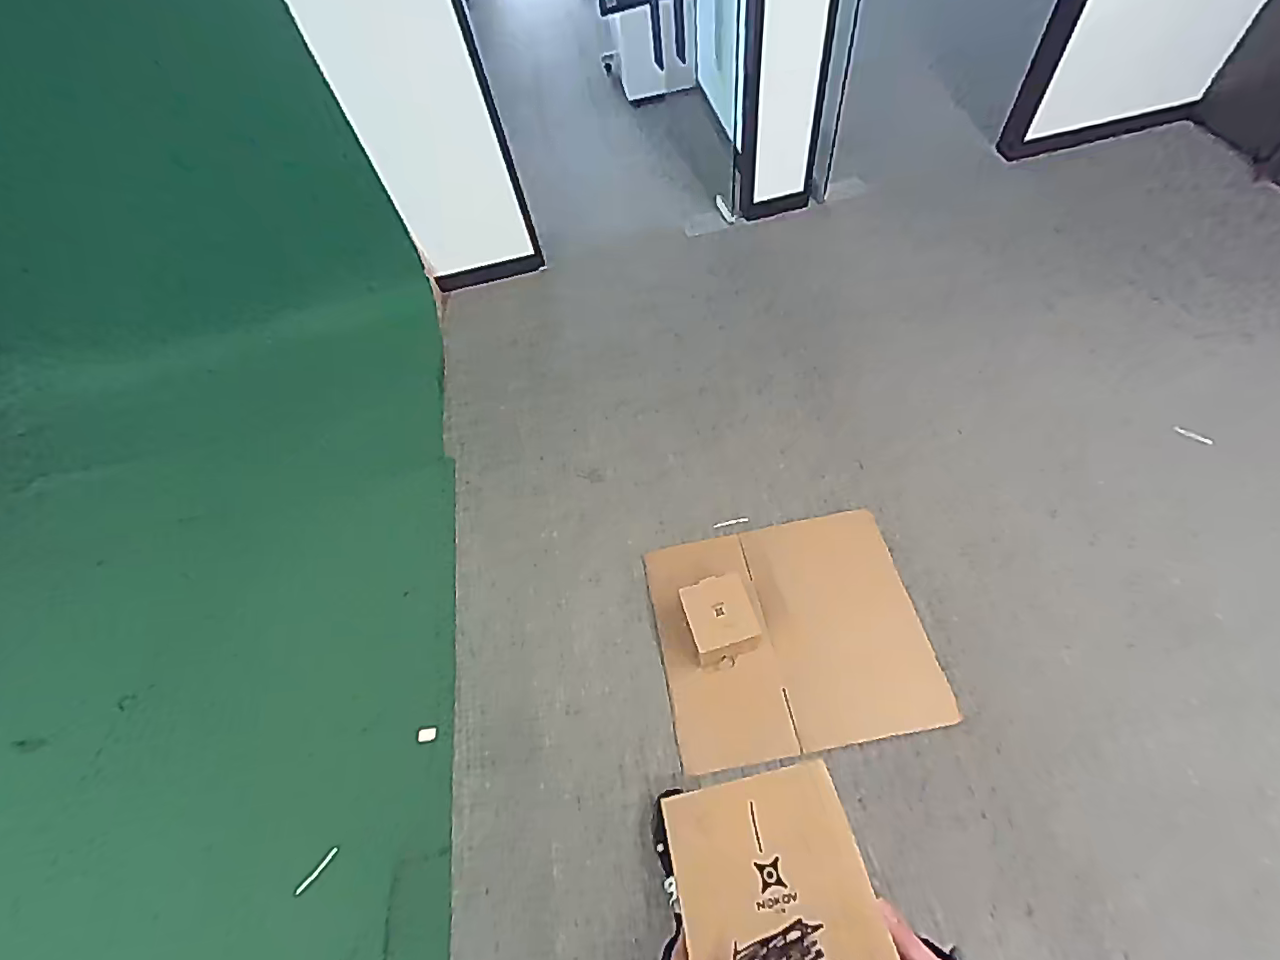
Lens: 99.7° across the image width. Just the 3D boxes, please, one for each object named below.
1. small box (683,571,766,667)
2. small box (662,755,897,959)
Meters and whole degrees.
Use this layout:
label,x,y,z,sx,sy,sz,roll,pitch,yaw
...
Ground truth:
label,x,y,z,sx,sy,sz,roll,pitch,yaw
small box,0.216,0.368,1.421,0.168,0.176,0.179,-17,59,-2
small box,0.129,0.397,0.524,0.168,0.176,0.179,-15,47,2
